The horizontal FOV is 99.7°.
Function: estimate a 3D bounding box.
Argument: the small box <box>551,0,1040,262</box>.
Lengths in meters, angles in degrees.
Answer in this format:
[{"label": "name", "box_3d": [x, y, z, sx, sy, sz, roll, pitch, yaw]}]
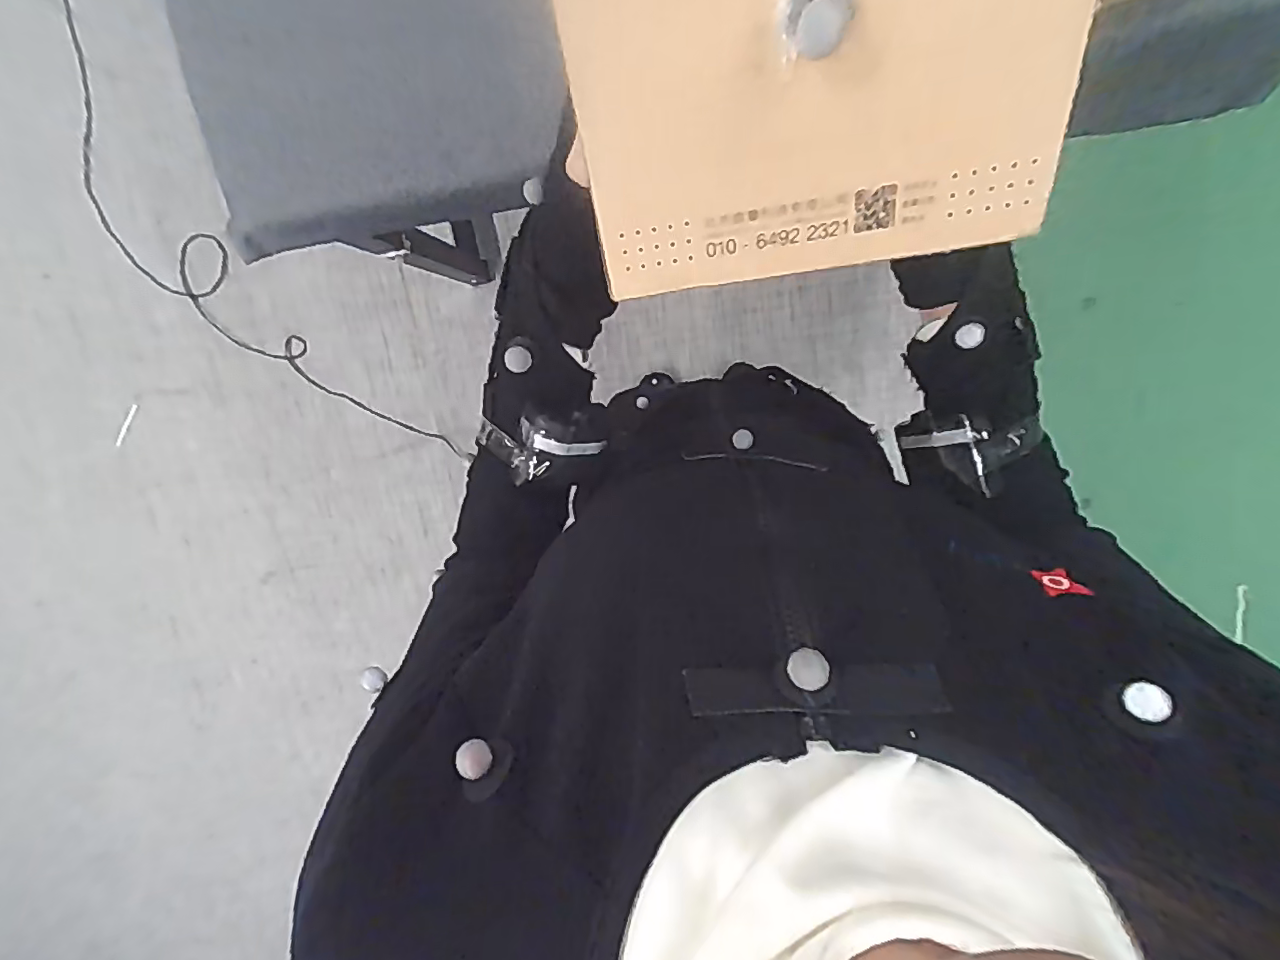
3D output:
[{"label": "small box", "box_3d": [0.057, -0.207, 0.241, 0.168, 0.179, 0.176, -5, 127, 8]}]
